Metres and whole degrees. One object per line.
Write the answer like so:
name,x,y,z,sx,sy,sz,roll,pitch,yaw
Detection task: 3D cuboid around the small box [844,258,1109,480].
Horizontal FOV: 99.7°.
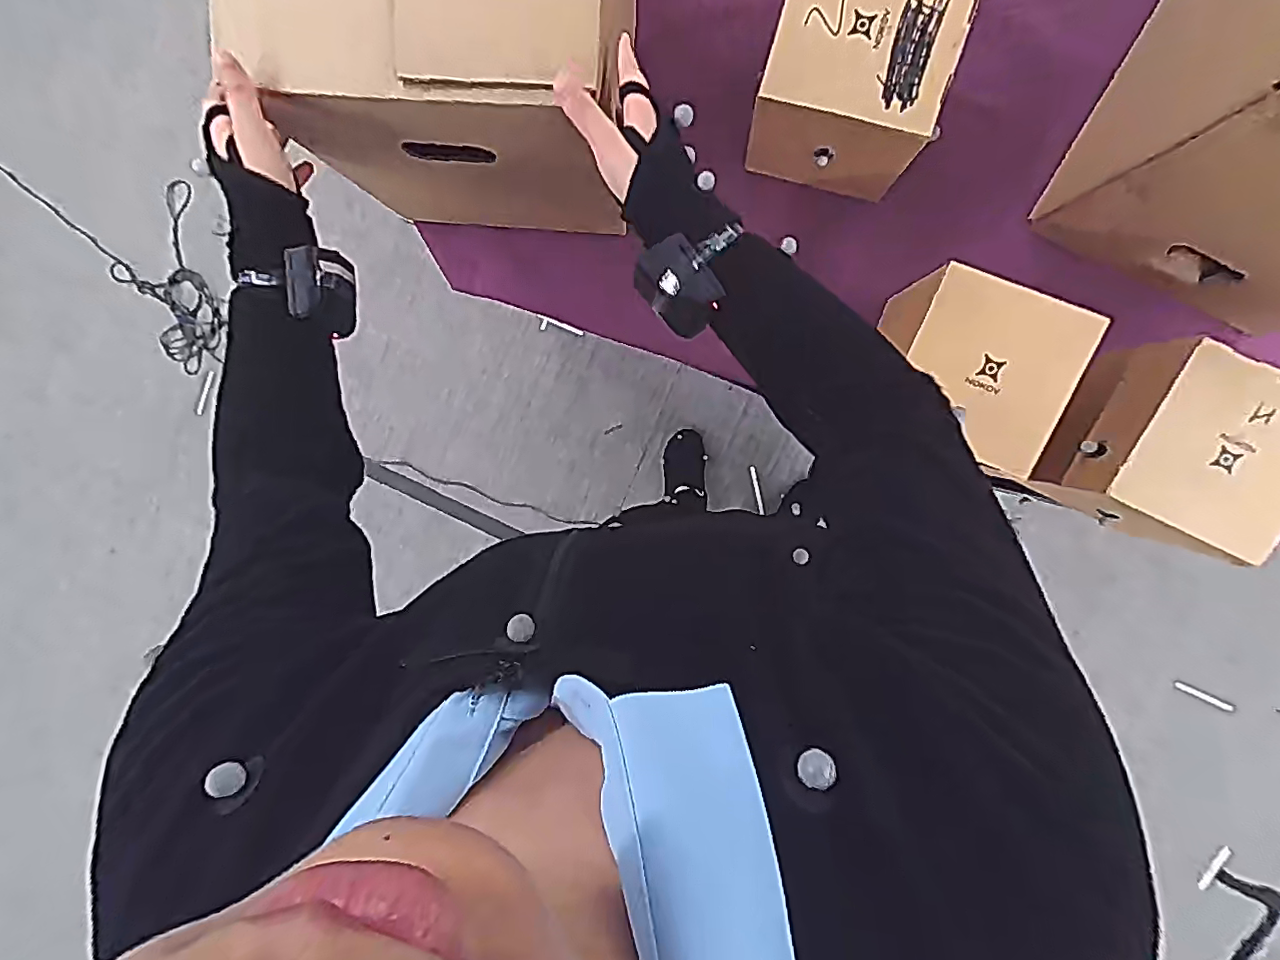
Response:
small box,0.356,-0.119,0.616,0.168,0.176,0.179,22,99,3

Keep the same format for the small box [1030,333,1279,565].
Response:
small box,0.578,-0.035,0.600,0.168,0.176,0.179,27,97,2
